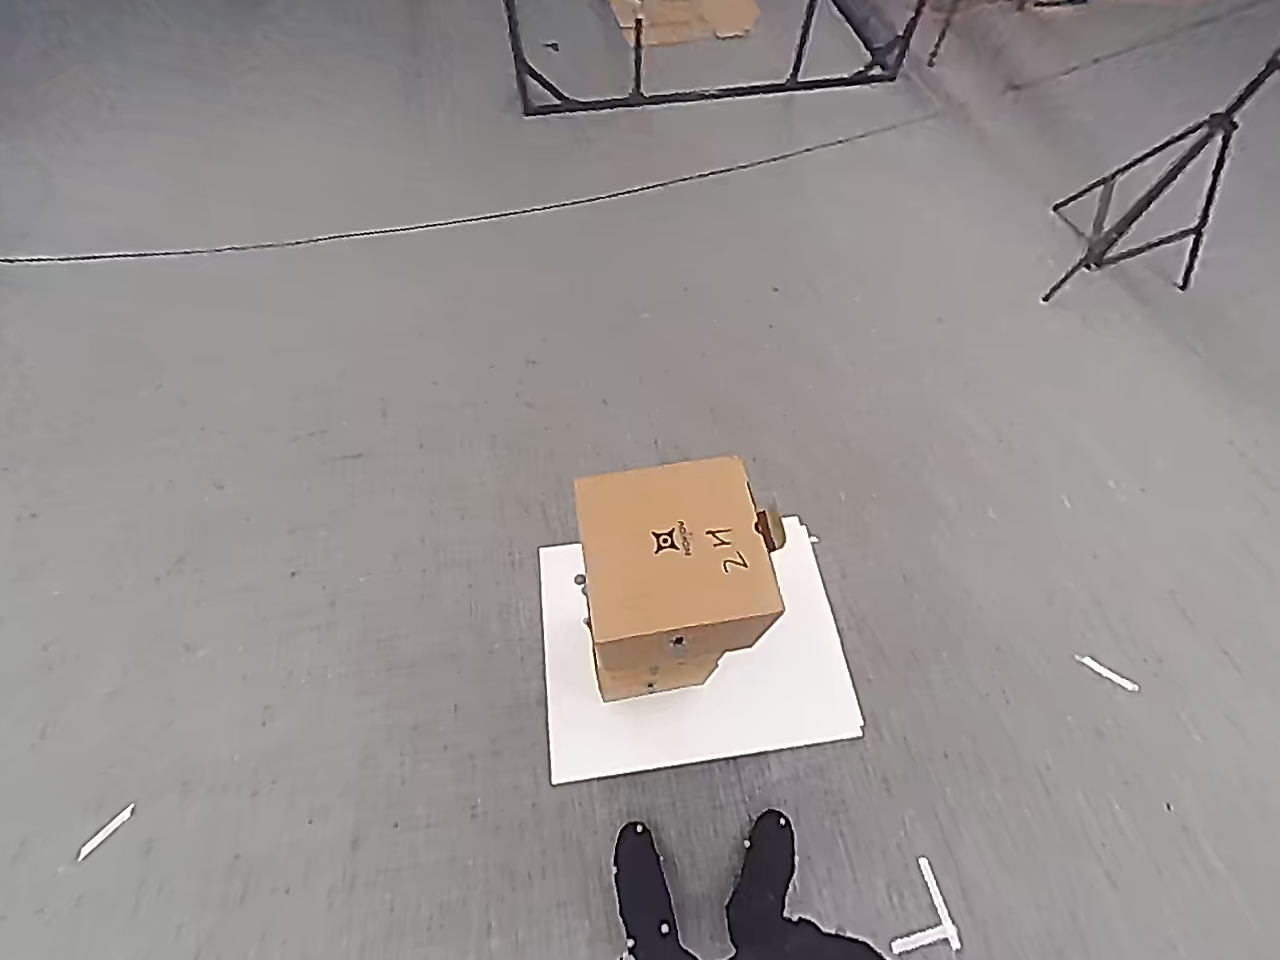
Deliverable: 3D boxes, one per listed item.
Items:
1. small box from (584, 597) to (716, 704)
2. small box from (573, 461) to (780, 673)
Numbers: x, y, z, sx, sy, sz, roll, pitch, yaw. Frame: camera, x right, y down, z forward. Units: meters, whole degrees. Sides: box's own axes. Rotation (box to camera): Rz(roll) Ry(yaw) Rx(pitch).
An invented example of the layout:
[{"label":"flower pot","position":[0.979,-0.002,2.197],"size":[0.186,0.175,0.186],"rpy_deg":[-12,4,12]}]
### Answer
[{"label":"small box","position":[0.010,0.254,0.874],"size":[0.179,0.176,0.168],"rpy_deg":[-8,62,-7]},{"label":"small box","position":[0.029,0.101,0.585],"size":[0.179,0.176,0.168],"rpy_deg":[-8,62,-6]}]
